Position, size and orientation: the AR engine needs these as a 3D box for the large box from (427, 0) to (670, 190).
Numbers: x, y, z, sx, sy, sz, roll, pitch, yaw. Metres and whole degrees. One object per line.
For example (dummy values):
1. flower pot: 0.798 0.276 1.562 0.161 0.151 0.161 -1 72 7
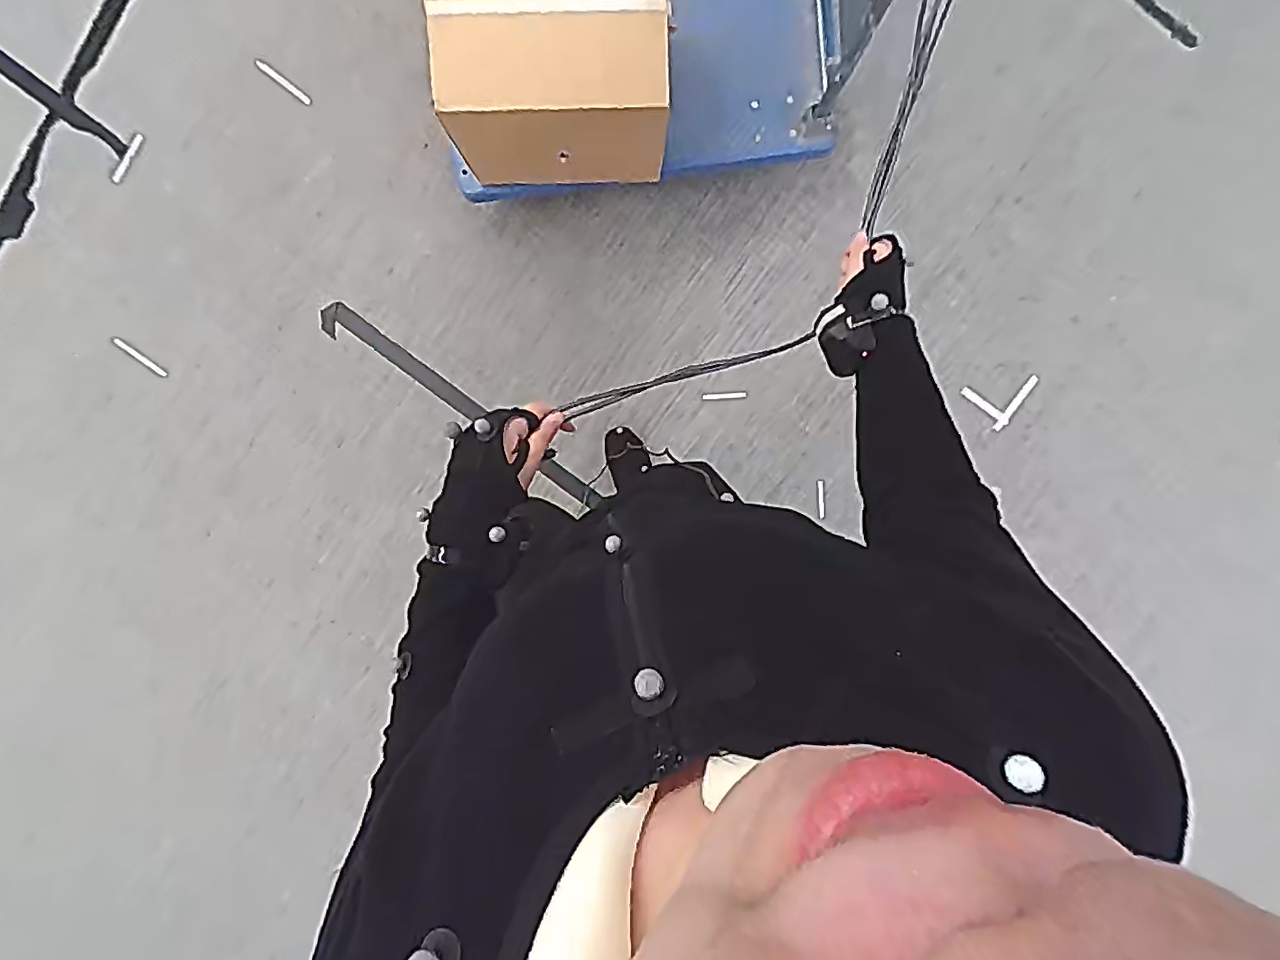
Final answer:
1. large box: -0.154 -0.788 1.049 0.408 0.320 0.320 -2 97 0
